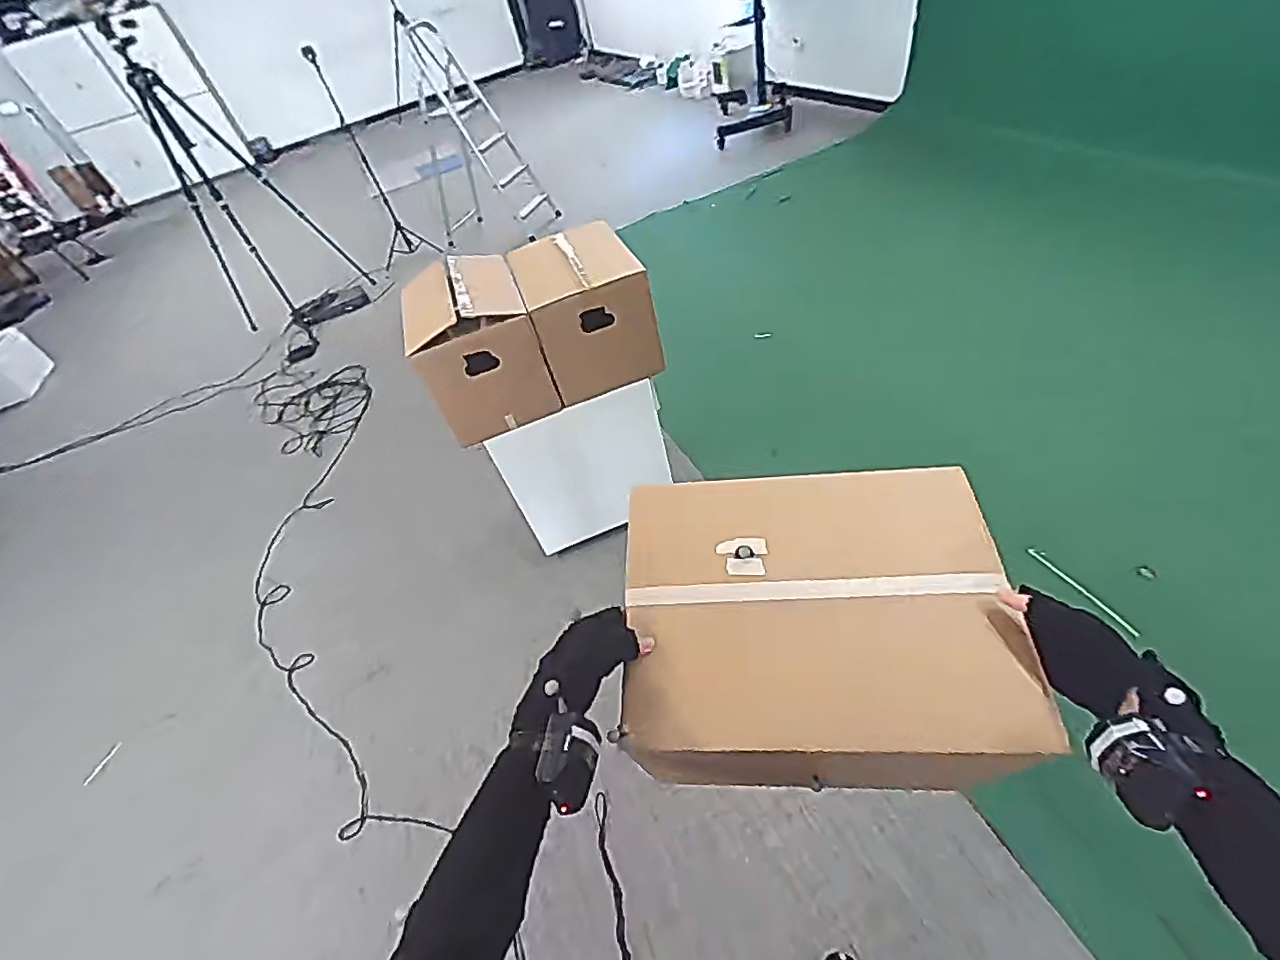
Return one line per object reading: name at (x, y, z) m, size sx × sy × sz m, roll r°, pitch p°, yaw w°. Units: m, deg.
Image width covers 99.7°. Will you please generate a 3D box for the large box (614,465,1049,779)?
large box at (0.199, 0.207, 0.711) m, size 0.408 × 0.320 × 0.320 m, roll -4°, pitch 54°, yaw 9°
